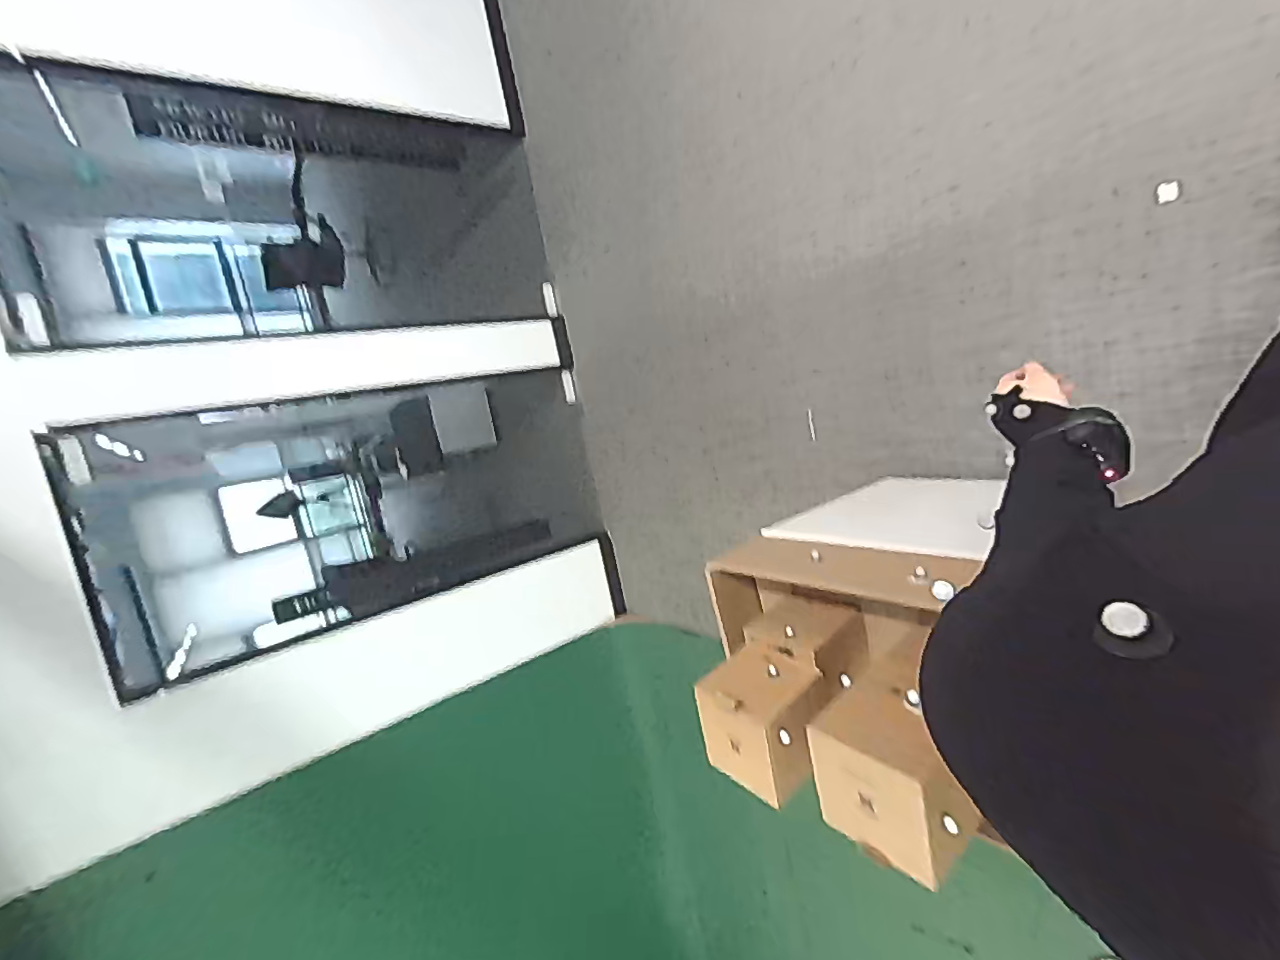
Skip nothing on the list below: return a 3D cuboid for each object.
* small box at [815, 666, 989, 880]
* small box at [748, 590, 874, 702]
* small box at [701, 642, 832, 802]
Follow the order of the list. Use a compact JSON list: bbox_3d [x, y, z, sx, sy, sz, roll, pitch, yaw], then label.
[{"bbox_3d":[0.384,0.408,0.787,0.168,0.176,0.179,4,112,53],"label":"small box"},{"bbox_3d":[0.350,0.349,1.090,0.168,0.176,0.179,1,110,51],"label":"small box"},{"bbox_3d":[0.241,0.433,0.997,0.168,0.176,0.179,8,115,51],"label":"small box"}]
